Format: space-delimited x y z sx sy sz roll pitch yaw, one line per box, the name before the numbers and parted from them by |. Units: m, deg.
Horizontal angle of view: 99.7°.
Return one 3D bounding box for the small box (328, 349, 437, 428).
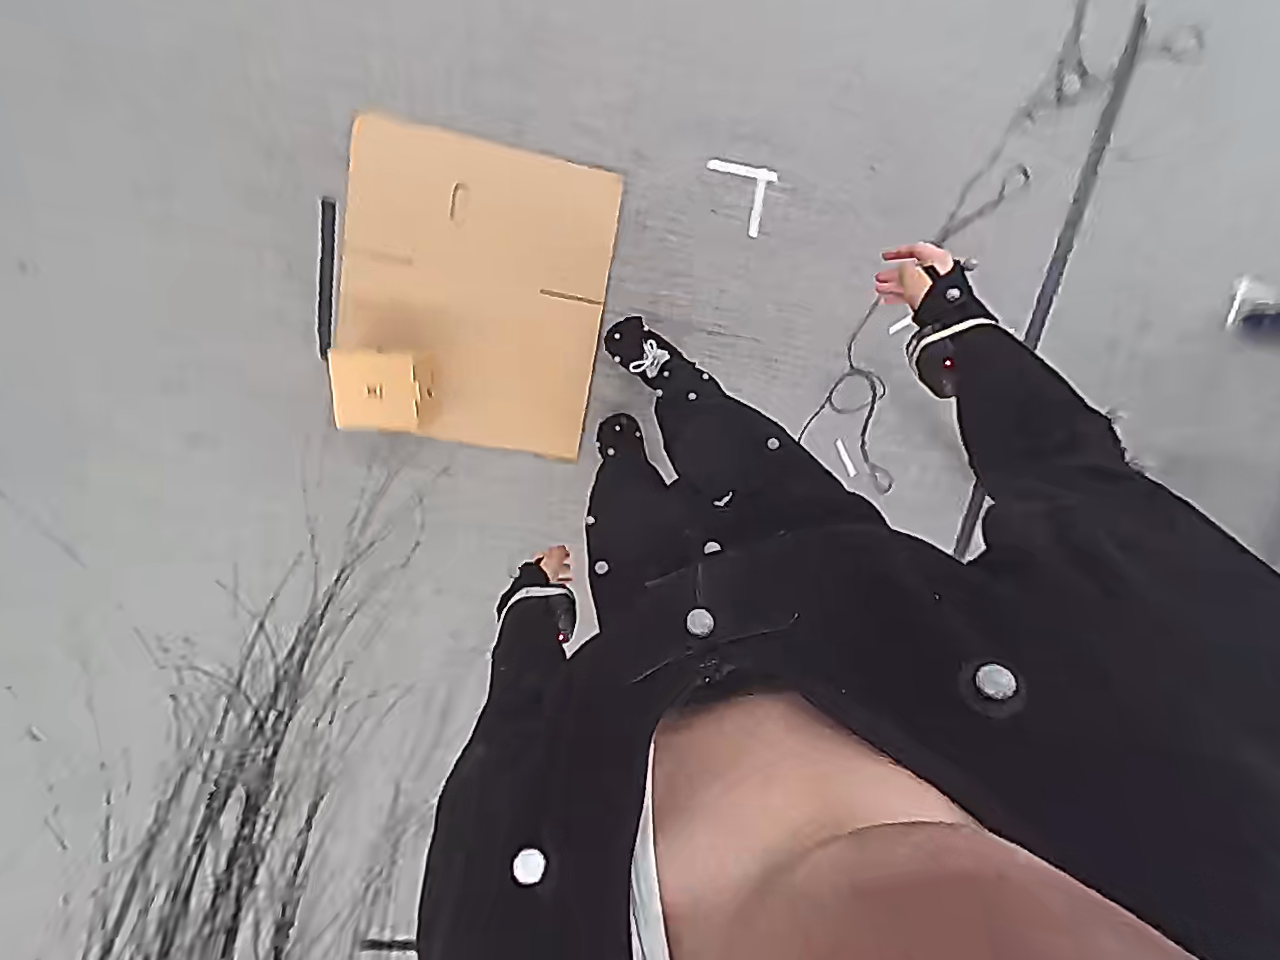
small box | -0.582 -0.213 1.241 0.179 0.176 0.168 -1 105 -7
